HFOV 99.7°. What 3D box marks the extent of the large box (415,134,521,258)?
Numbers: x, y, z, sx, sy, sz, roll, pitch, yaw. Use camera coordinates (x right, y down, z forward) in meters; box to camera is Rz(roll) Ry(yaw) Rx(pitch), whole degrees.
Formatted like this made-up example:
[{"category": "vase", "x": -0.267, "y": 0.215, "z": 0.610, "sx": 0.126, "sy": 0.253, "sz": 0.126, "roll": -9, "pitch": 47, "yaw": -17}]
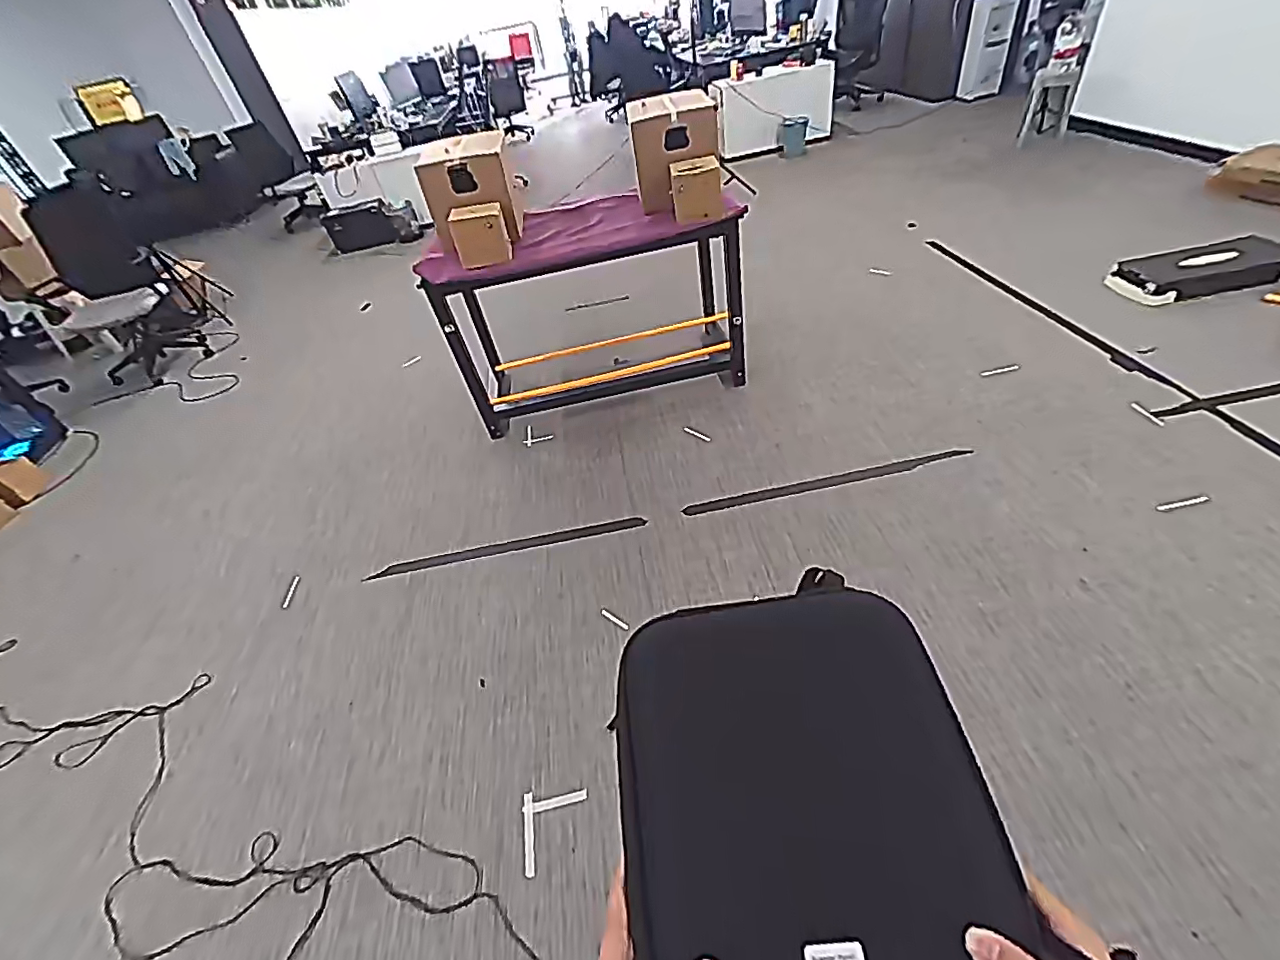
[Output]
[{"category": "large box", "x": -0.667, "y": -1.140, "z": 2.160, "sx": 0.320, "sy": 0.320, "sz": 0.408, "roll": -12, "pitch": 45, "yaw": -1}]
